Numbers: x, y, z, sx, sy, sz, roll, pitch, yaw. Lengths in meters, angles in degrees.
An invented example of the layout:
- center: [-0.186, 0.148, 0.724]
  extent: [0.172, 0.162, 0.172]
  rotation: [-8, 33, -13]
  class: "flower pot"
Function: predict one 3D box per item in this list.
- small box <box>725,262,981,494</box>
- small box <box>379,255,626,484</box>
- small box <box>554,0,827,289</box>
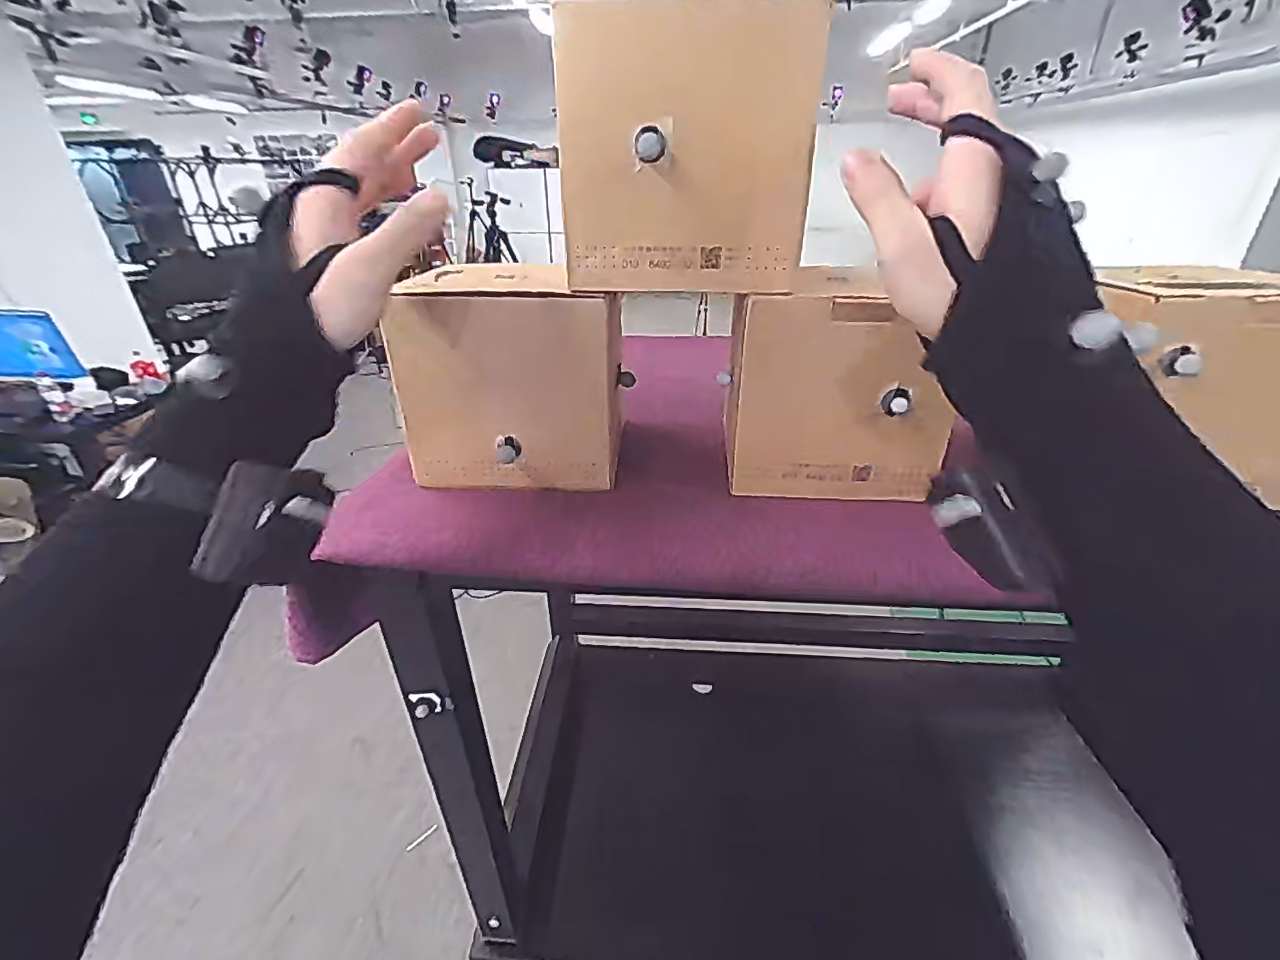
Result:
- center: [0.167, -0.098, 0.490]
  extent: [0.168, 0.176, 0.179]
  rotation: [3, 28, 5]
  class: "small box"
- center: [-0.106, -0.106, 0.503]
  extent: [0.179, 0.176, 0.168]
  rotation: [2, 28, 1]
  class: "small box"
- center: [0.037, -0.248, 0.425]
  extent: [0.168, 0.176, 0.179]
  rotation: [2, 27, 4]
  class: "small box"
